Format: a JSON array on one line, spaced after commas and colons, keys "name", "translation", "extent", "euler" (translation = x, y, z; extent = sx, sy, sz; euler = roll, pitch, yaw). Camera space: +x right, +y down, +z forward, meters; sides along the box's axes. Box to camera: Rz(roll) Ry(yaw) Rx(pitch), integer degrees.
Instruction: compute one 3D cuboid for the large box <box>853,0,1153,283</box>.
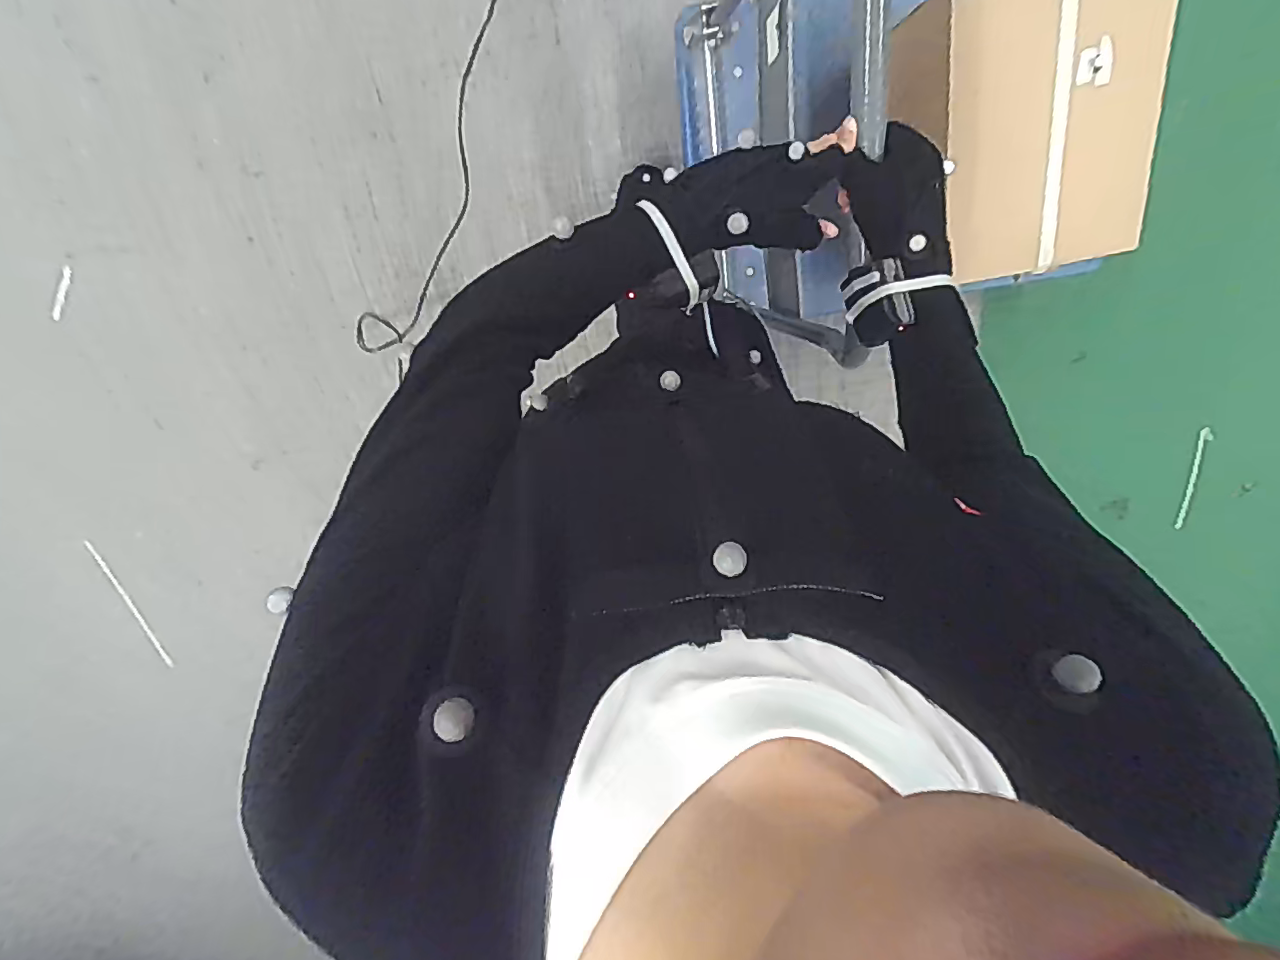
[{"name": "large box", "translation": [0.591, -0.587, 0.948], "extent": [0.320, 0.320, 0.408], "euler": [-11, 112, 2]}]
